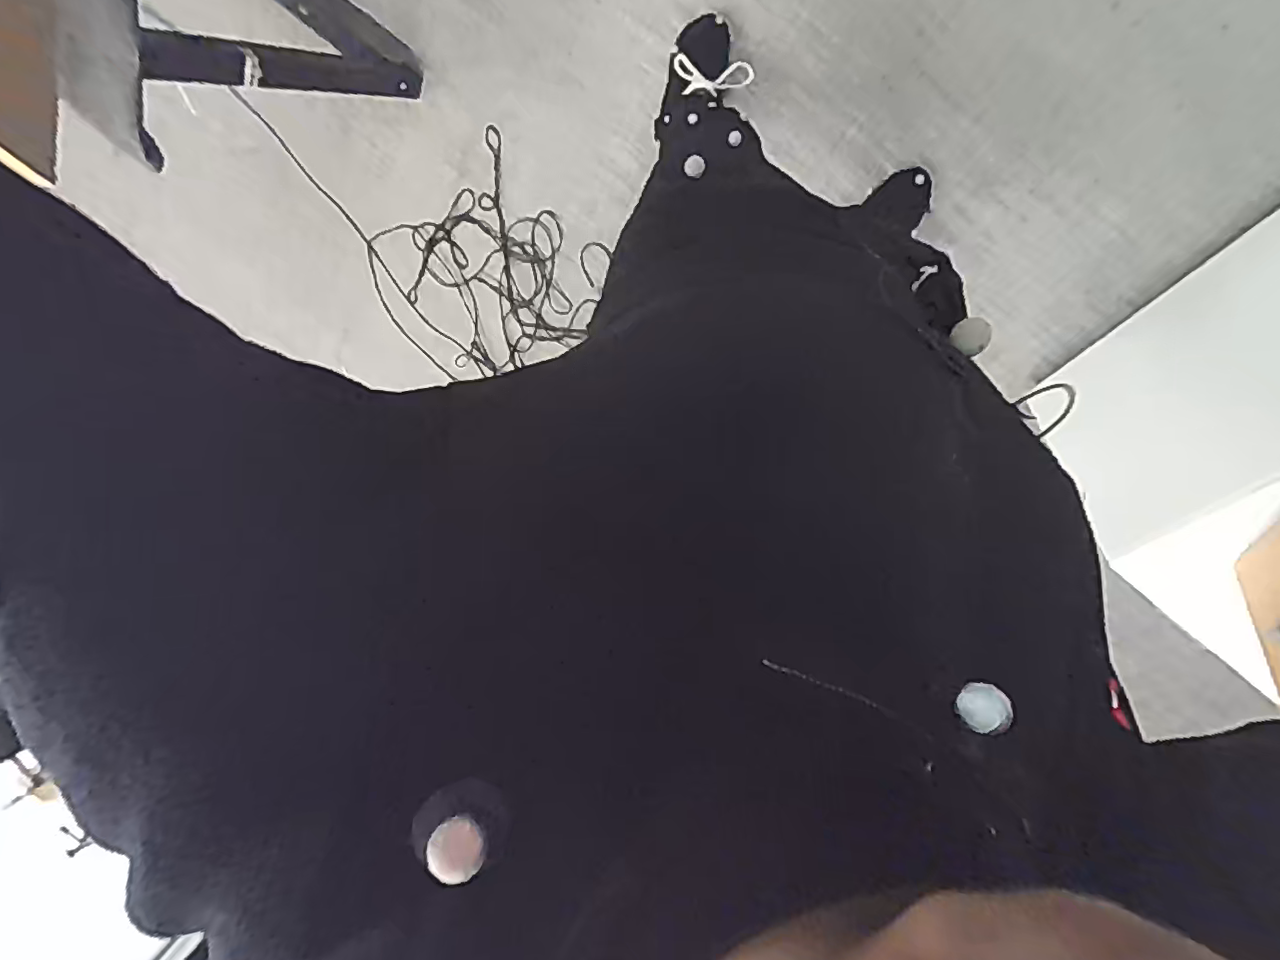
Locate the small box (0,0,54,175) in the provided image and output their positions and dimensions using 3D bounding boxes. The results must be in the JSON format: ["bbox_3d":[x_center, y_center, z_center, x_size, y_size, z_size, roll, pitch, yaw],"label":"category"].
[{"bbox_3d":[-0.534,-0.342,0.347,0.168,0.179,0.176,4,89,-22],"label":"small box"}]
